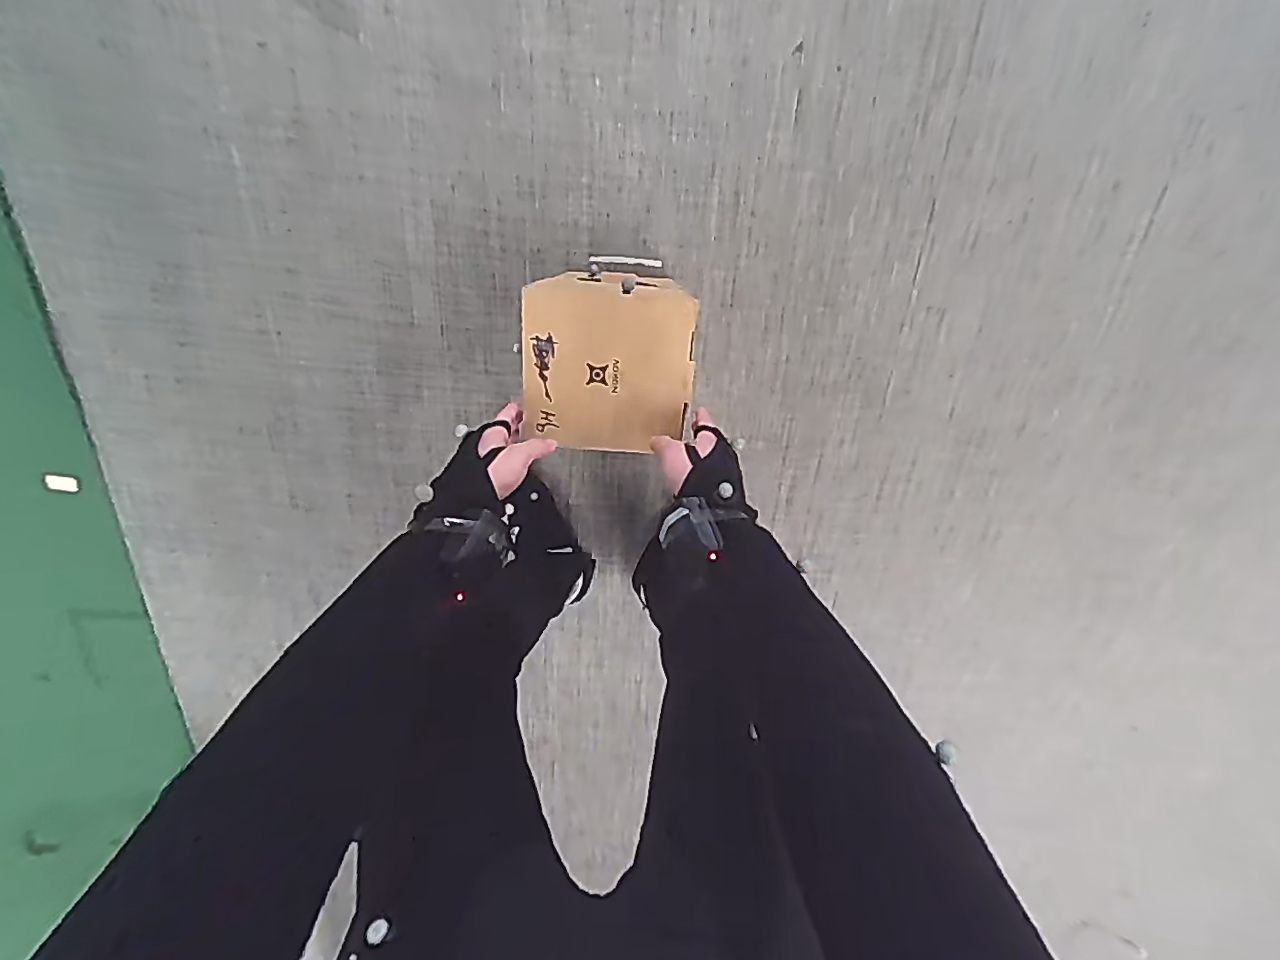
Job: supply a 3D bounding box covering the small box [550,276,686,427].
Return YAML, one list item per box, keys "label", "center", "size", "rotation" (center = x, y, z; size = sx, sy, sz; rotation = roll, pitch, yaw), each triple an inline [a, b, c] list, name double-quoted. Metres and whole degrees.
- label: "small box"
  center: [-0.032, -0.190, 0.773]
  size: [0.168, 0.176, 0.179]
  rotation: [6, 113, -2]
